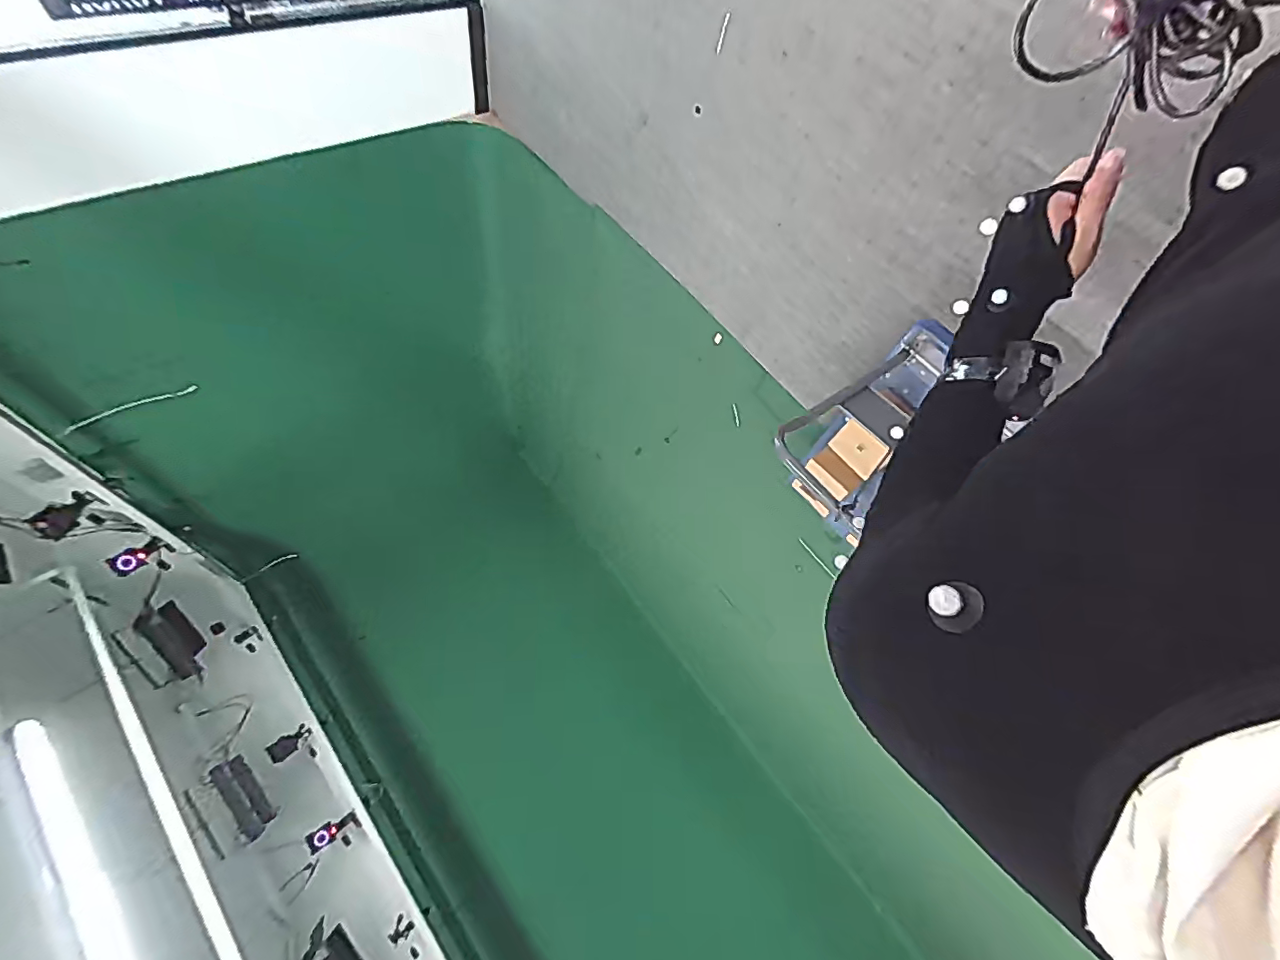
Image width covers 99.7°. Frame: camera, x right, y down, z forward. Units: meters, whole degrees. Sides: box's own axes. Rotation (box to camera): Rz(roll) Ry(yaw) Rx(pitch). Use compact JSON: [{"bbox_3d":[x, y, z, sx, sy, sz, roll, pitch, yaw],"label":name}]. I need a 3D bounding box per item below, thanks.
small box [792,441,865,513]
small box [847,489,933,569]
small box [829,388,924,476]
[{"bbox_3d":[0.669,-0.023,1.878,0.168,0.176,0.179,47,151,18],"label":"small box"},{"bbox_3d":[0.833,0.158,1.795,0.168,0.176,0.179,48,152,20],"label":"small box"},{"bbox_3d":[0.724,-0.147,1.653,0.168,0.176,0.179,50,151,16],"label":"small box"}]
